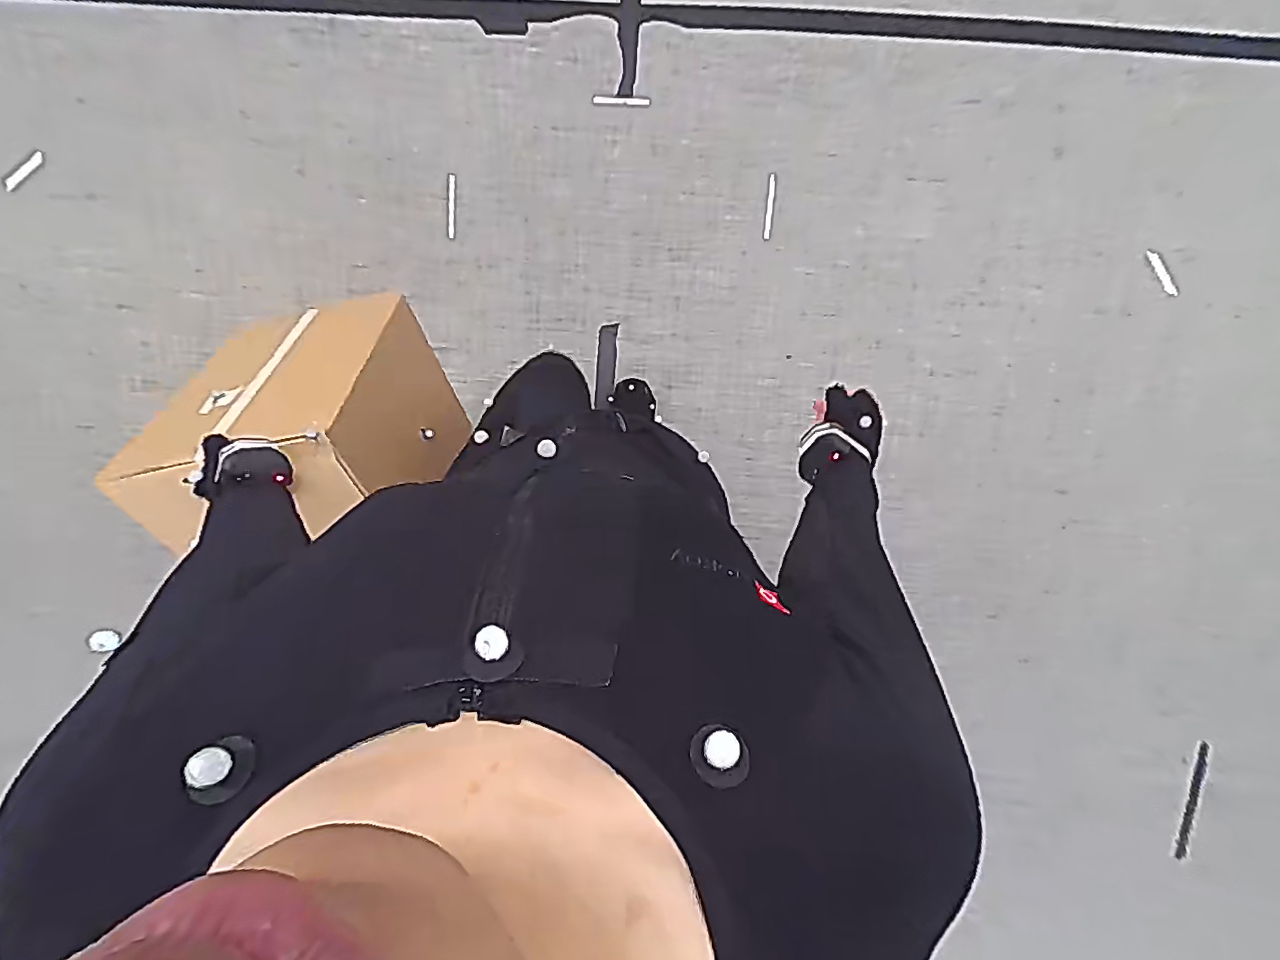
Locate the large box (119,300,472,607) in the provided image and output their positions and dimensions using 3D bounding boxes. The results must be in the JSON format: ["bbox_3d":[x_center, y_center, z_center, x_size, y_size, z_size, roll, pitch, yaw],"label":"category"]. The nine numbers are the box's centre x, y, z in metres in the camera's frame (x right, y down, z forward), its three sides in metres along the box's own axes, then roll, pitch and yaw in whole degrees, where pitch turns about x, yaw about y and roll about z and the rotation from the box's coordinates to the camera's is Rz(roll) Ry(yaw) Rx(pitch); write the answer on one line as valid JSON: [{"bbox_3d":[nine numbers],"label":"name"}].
[{"bbox_3d":[-0.516,-0.053,0.931,0.320,0.408,0.320,-12,133,5],"label":"large box"}]
